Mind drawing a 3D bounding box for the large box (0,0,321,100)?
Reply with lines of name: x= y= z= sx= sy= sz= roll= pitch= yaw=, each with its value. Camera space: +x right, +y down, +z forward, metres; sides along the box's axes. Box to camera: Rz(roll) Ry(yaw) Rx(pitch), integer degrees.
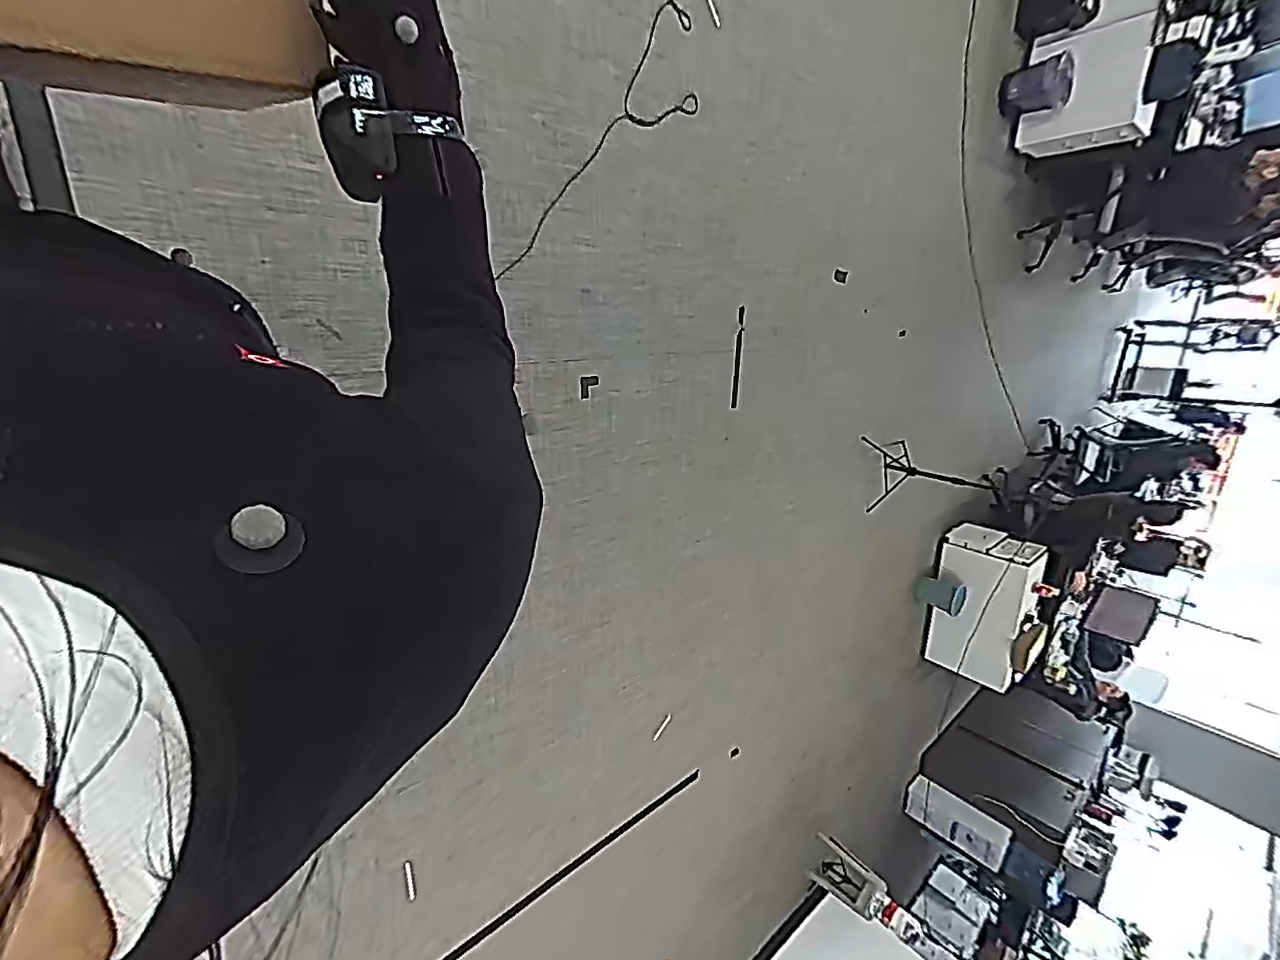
large box: x=-0.450 y=-0.405 z=0.268 sx=0.408 sy=0.320 sz=0.320 roll=-19 pitch=128 yaw=-37
